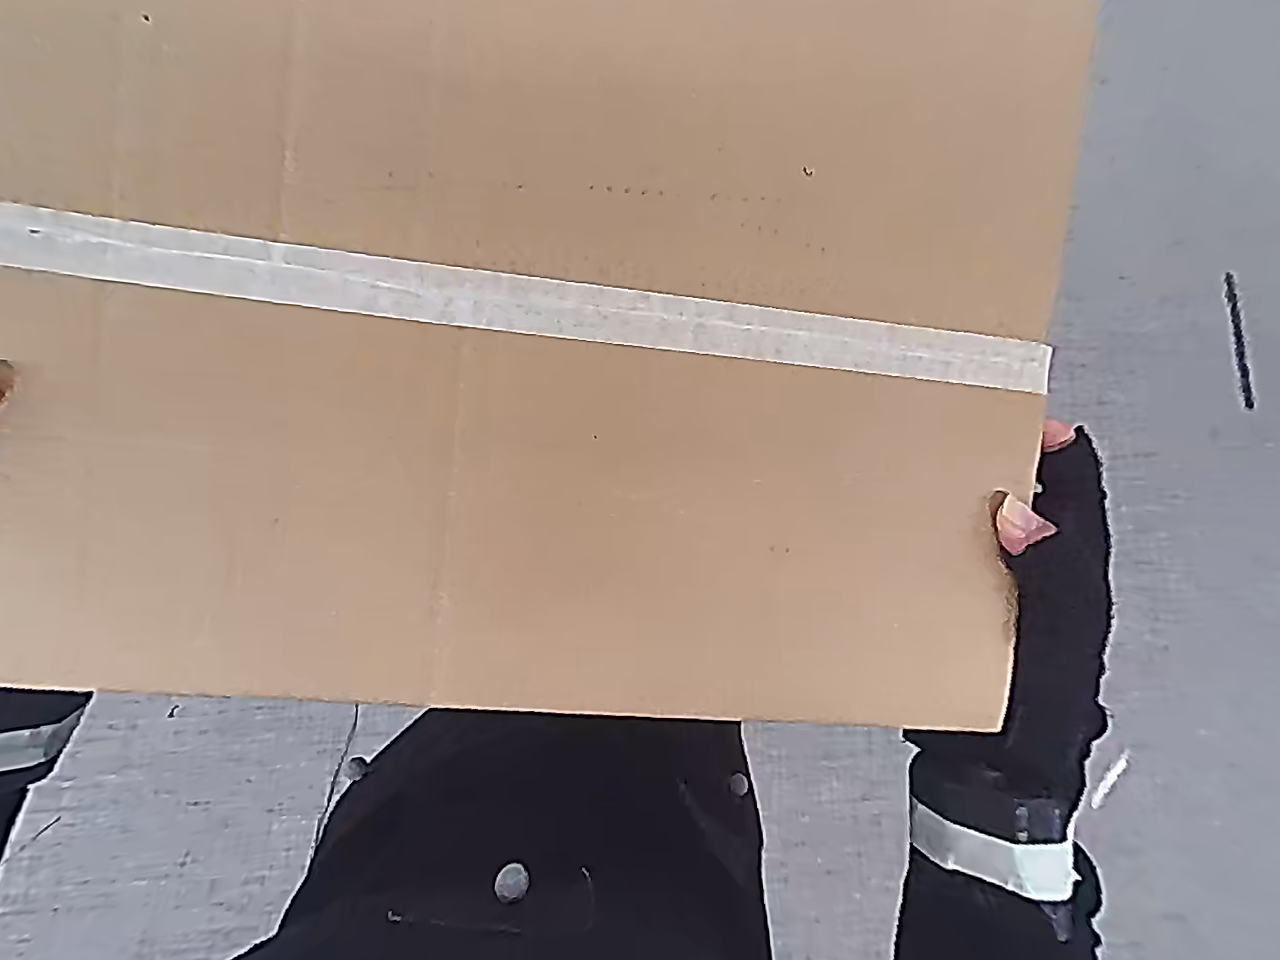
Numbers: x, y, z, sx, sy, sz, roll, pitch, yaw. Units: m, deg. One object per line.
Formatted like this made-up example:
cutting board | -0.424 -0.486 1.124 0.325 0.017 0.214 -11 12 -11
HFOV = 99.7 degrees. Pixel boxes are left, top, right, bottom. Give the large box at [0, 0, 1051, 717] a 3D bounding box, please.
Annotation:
large box | -0.047 -0.068 0.366 0.408 0.320 0.320 6 92 -7
